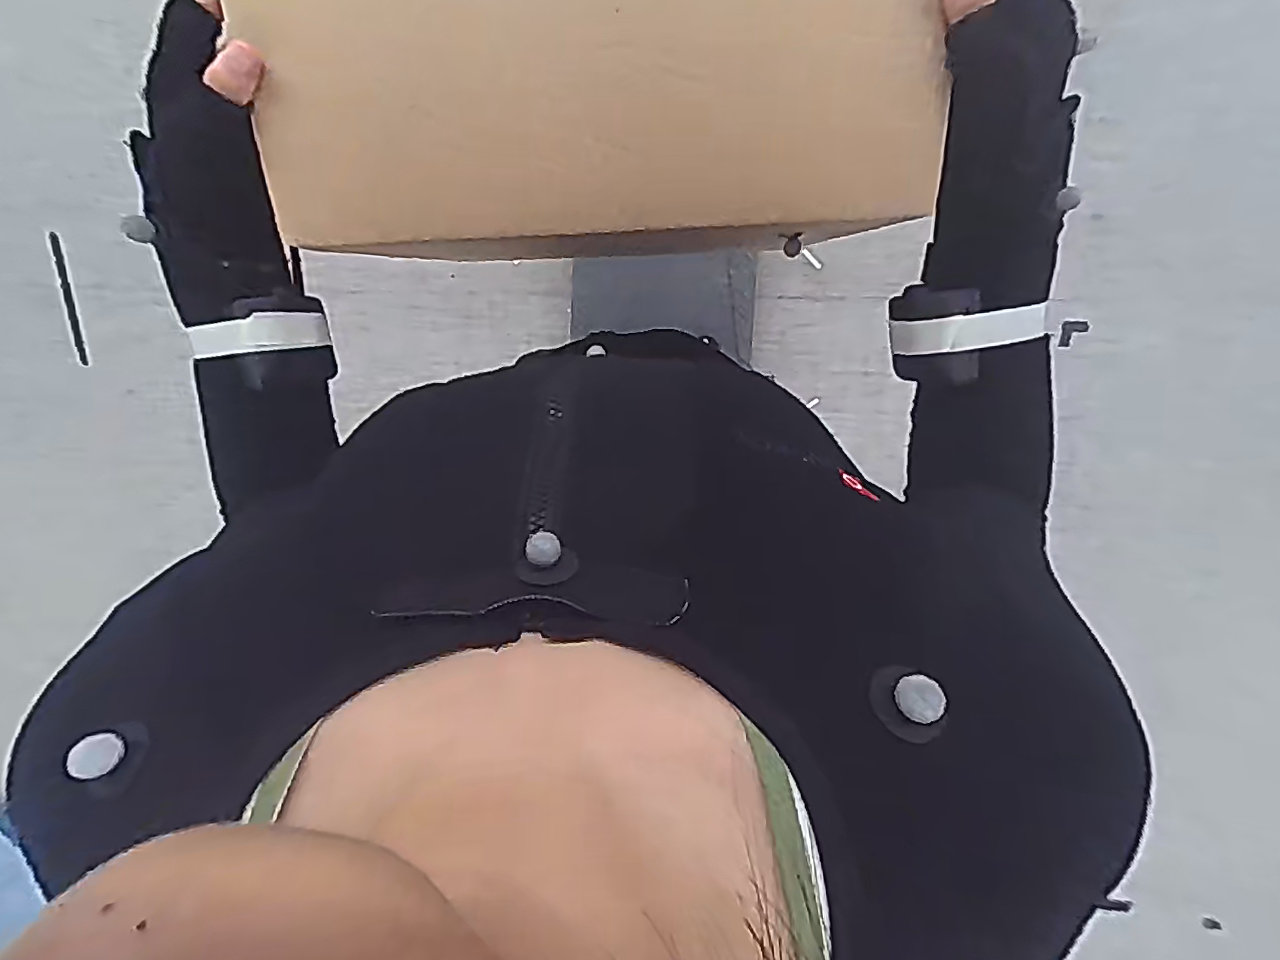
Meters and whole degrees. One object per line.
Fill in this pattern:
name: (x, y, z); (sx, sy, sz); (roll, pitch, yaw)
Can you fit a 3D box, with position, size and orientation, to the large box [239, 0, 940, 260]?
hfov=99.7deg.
large box: (-0.026, -0.354, 0.433); (0.408, 0.320, 0.320); (-2, 110, 2)
